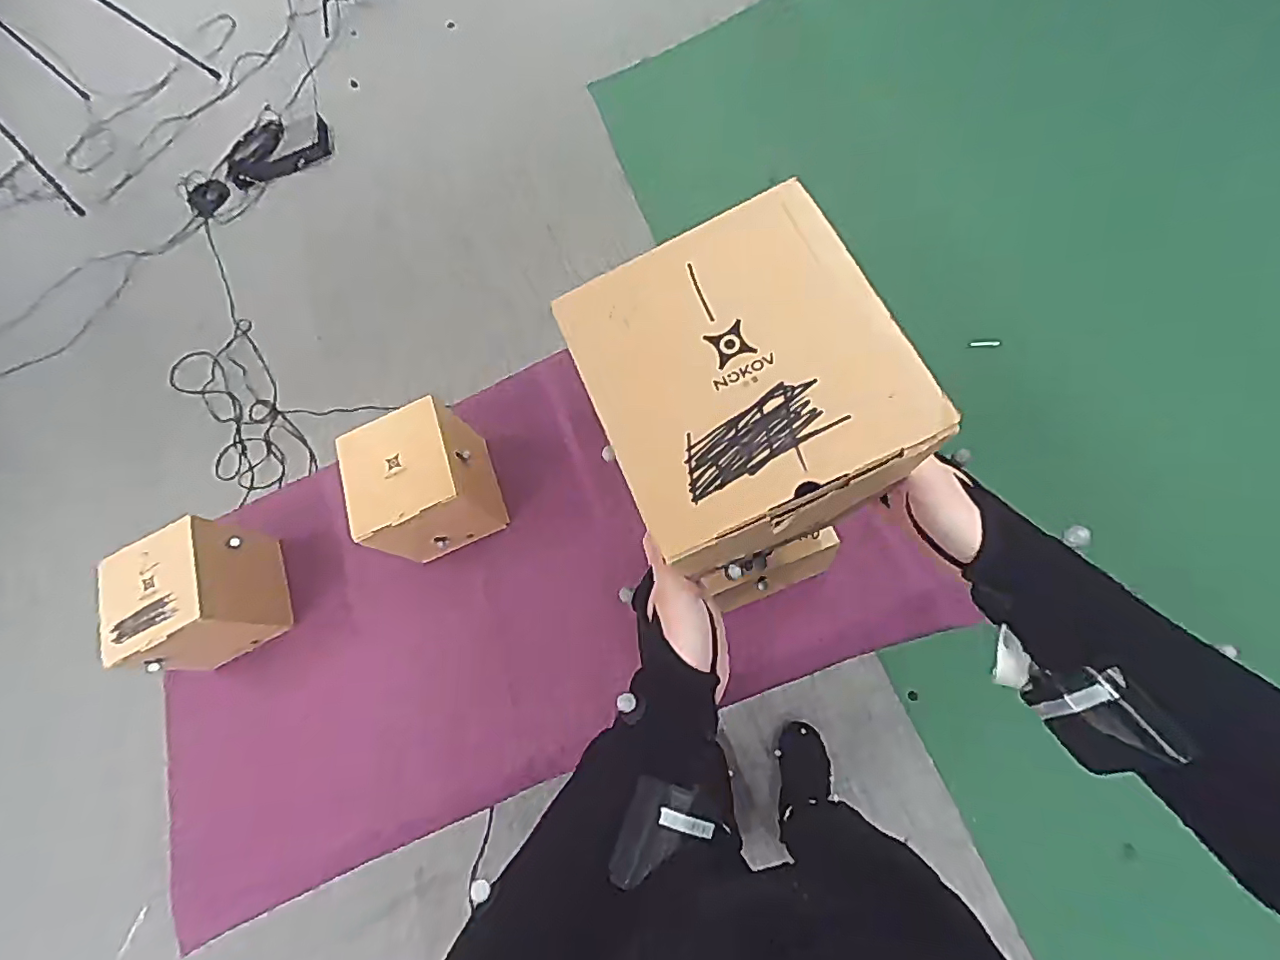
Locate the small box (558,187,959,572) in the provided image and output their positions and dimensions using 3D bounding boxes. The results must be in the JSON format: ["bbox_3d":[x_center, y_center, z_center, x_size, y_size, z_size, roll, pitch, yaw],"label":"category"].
[{"bbox_3d":[0.070,-0.045,0.373,0.168,0.176,0.179,-25,73,4],"label":"small box"}]

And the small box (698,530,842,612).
[{"bbox_3d":[0.143,0.059,0.717,0.168,0.176,0.179,-23,66,5],"label":"small box"}]

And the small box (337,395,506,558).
[{"bbox_3d":[-0.333,0.003,0.845,0.168,0.176,0.179,-23,69,3],"label":"small box"}]
